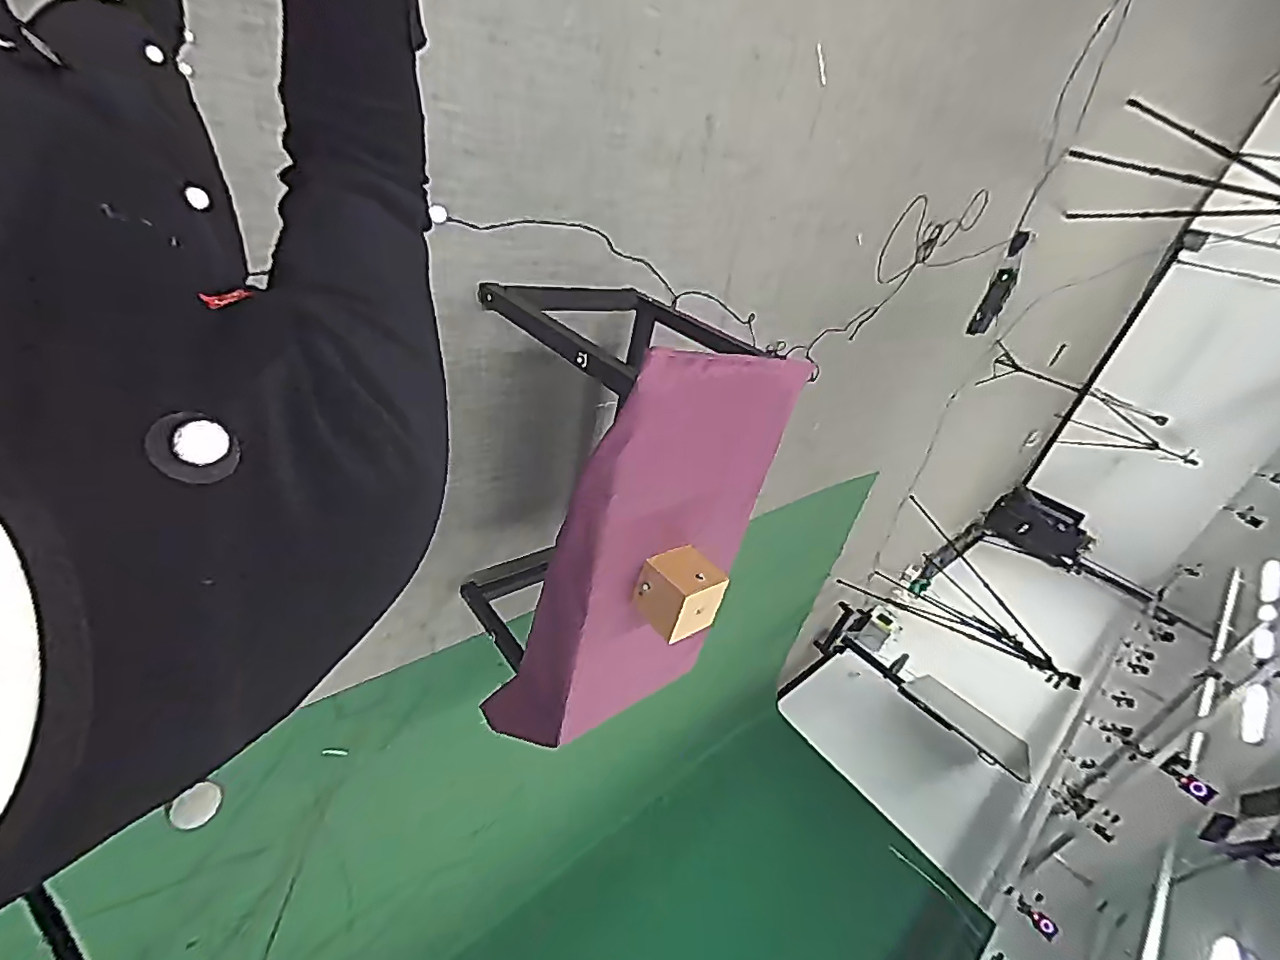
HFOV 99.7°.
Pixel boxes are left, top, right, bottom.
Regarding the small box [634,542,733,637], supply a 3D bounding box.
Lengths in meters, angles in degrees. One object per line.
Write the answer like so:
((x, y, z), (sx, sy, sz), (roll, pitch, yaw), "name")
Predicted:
((0.114, 0.287, 1.471), (0.179, 0.176, 0.168), (-10, 127, -41), "small box")
